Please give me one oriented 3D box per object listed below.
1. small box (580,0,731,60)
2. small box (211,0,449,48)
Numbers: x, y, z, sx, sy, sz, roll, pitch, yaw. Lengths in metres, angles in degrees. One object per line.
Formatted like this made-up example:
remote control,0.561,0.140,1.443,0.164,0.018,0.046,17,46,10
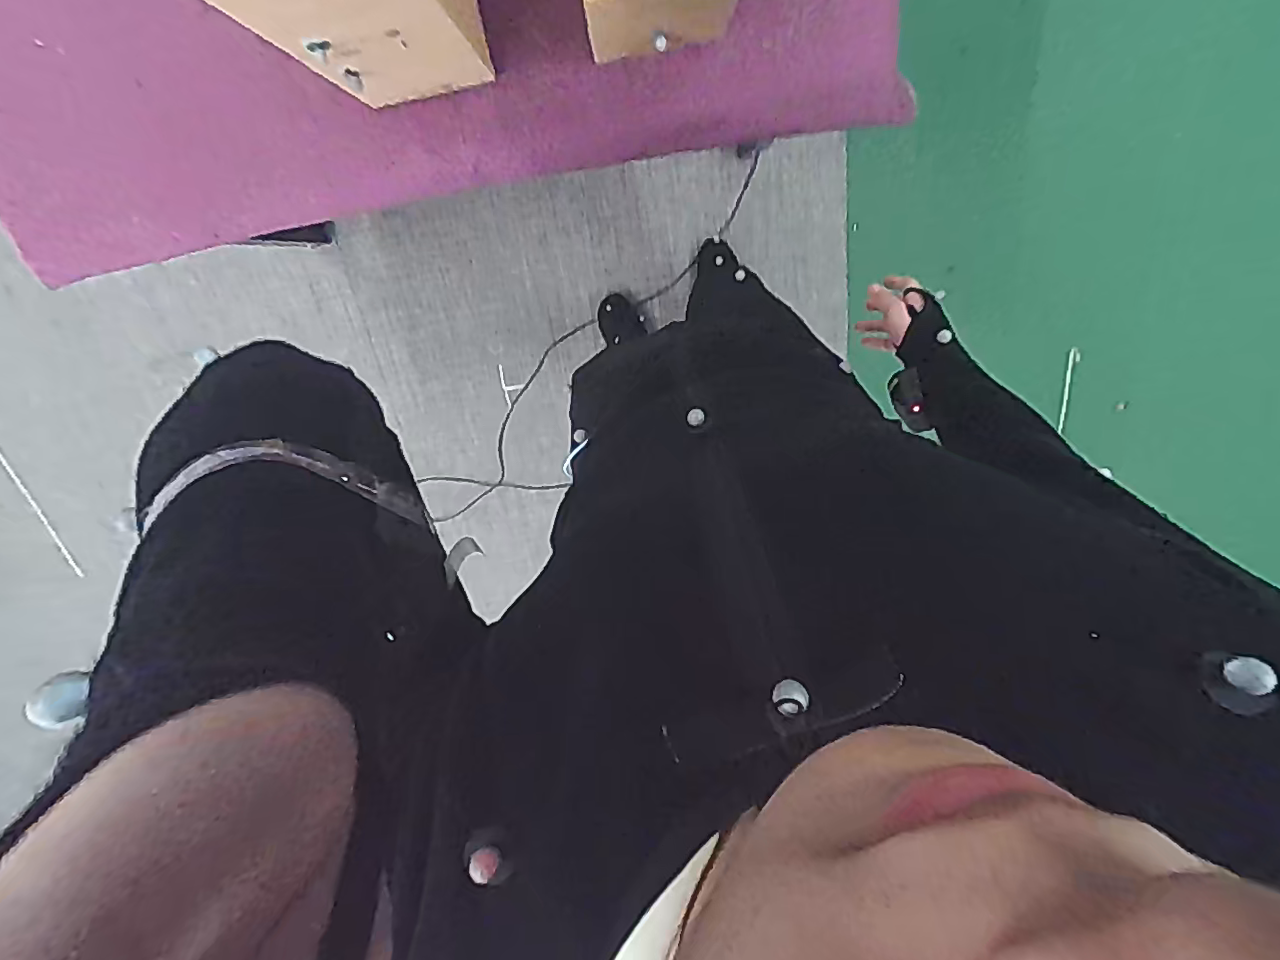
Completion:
small box,0.007,-0.590,0.572,0.168,0.176,0.179,-9,111,3
small box,-0.274,-0.483,0.431,0.168,0.176,0.179,-10,111,2
